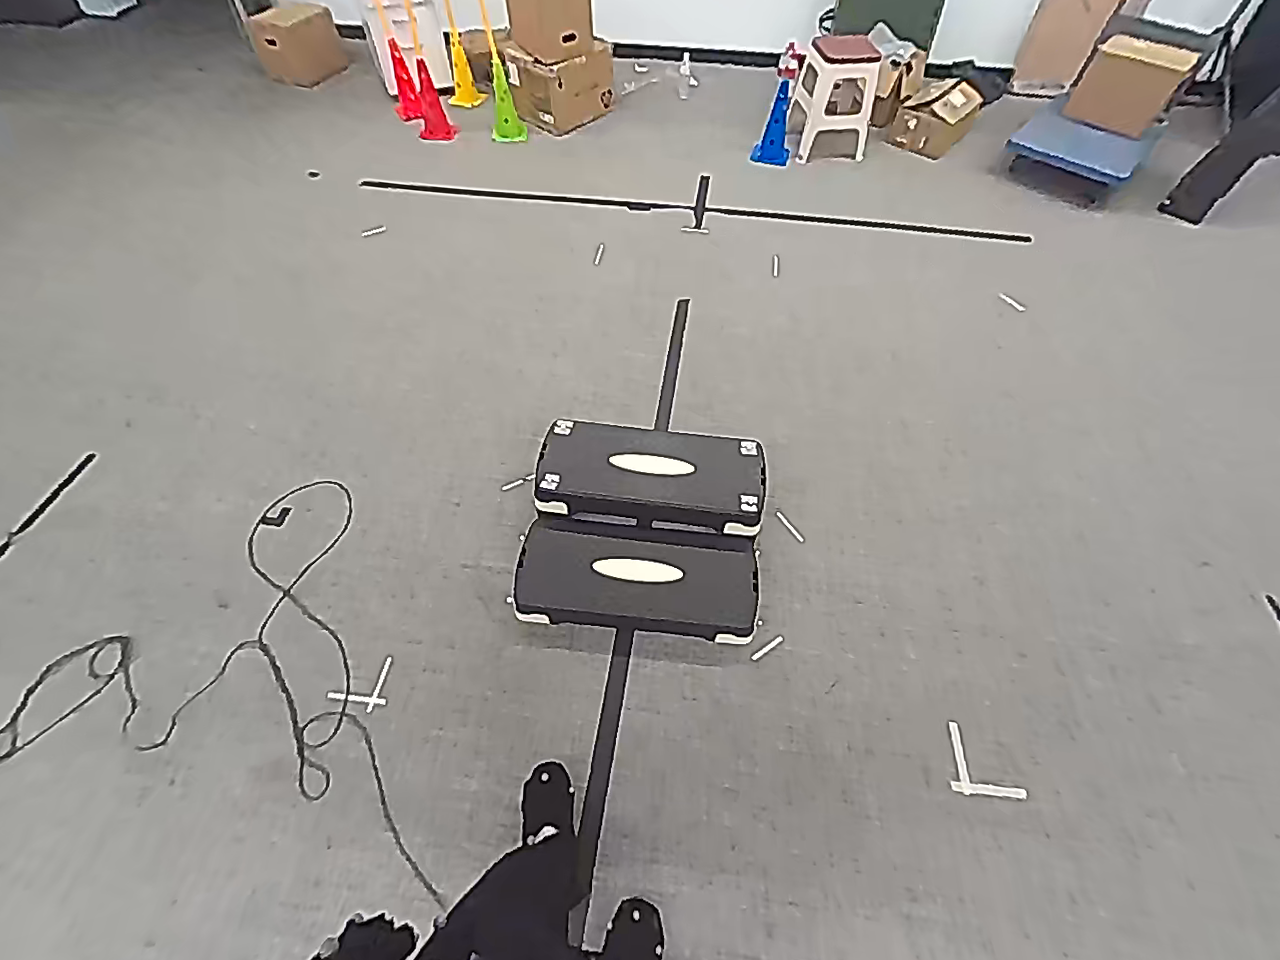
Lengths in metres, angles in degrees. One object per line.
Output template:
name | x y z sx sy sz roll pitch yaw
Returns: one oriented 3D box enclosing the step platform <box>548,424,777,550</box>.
step platform | 0.067 0.017 1.651 0.684 0.204 0.286 7 55 2
